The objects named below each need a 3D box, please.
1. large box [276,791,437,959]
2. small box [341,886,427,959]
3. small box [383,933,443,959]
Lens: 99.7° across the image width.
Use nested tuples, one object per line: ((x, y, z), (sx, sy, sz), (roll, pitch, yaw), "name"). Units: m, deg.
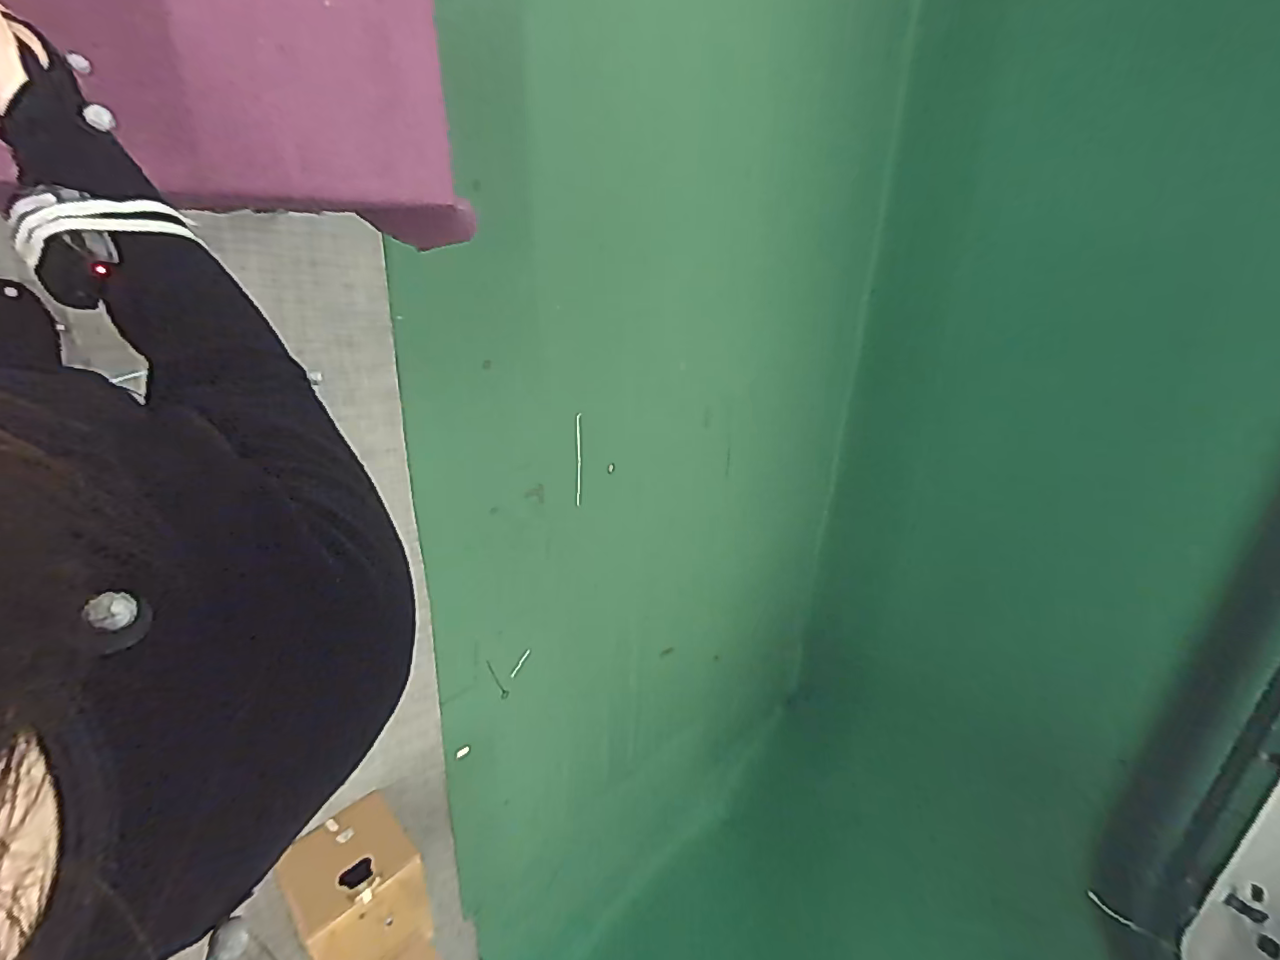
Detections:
((-0.882, 1.300, 1.700), (0.320, 0.320, 0.408), (-21, 122, -43), "large box")
((-0.710, 1.289, 1.507), (0.168, 0.176, 0.179), (-19, 121, -44), "small box")
((-0.595, 1.335, 1.397), (0.168, 0.176, 0.179), (-19, 120, -43), "small box")
